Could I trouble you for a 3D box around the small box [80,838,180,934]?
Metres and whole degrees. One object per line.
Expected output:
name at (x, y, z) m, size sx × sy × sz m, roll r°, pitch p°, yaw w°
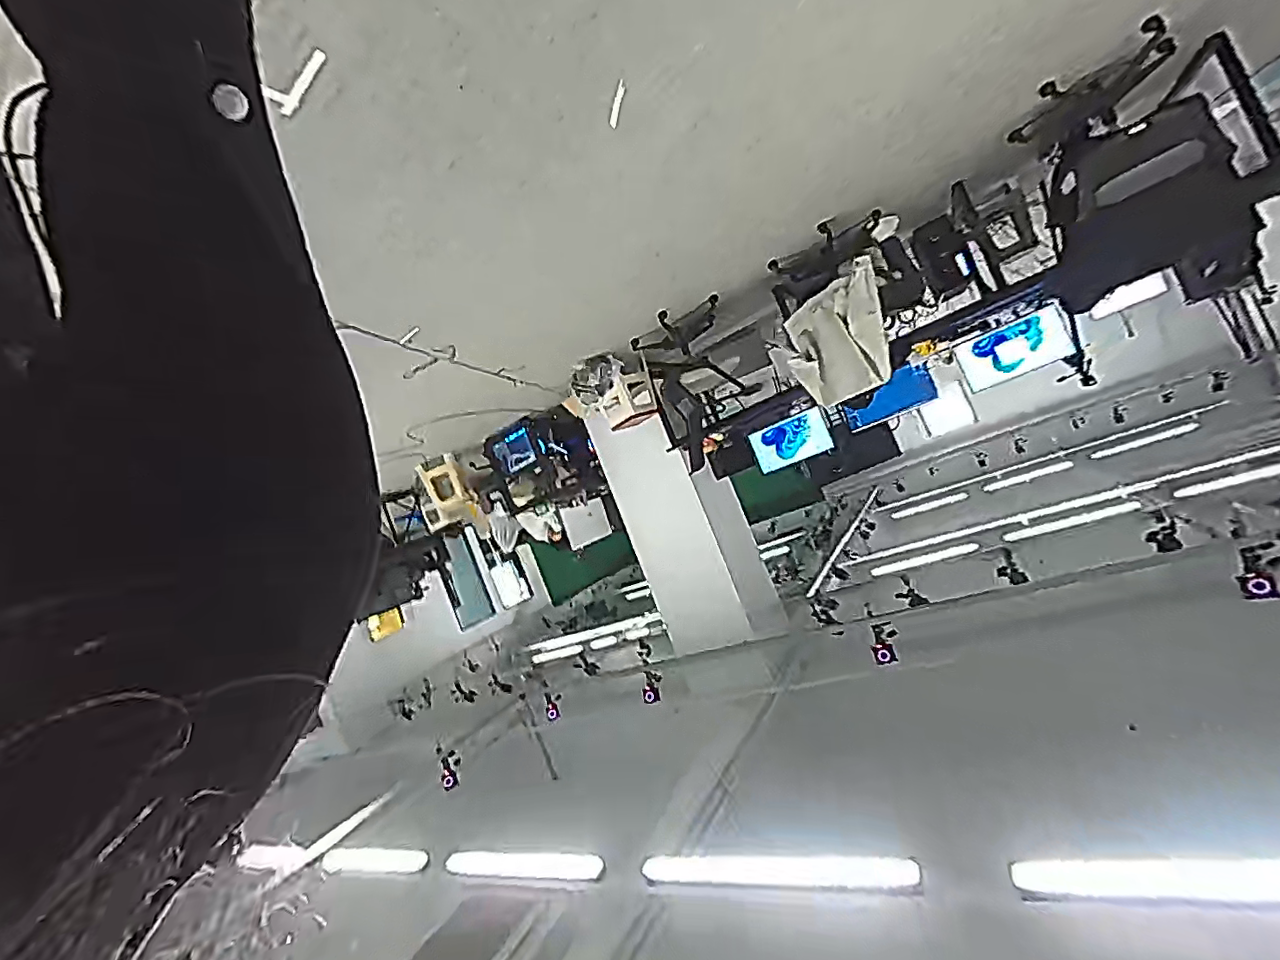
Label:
small box at (-1.557, 1.228, 1.647) m, size 0.179 × 0.176 × 0.168 m, roll -20°, pitch 177°, yaw 30°
